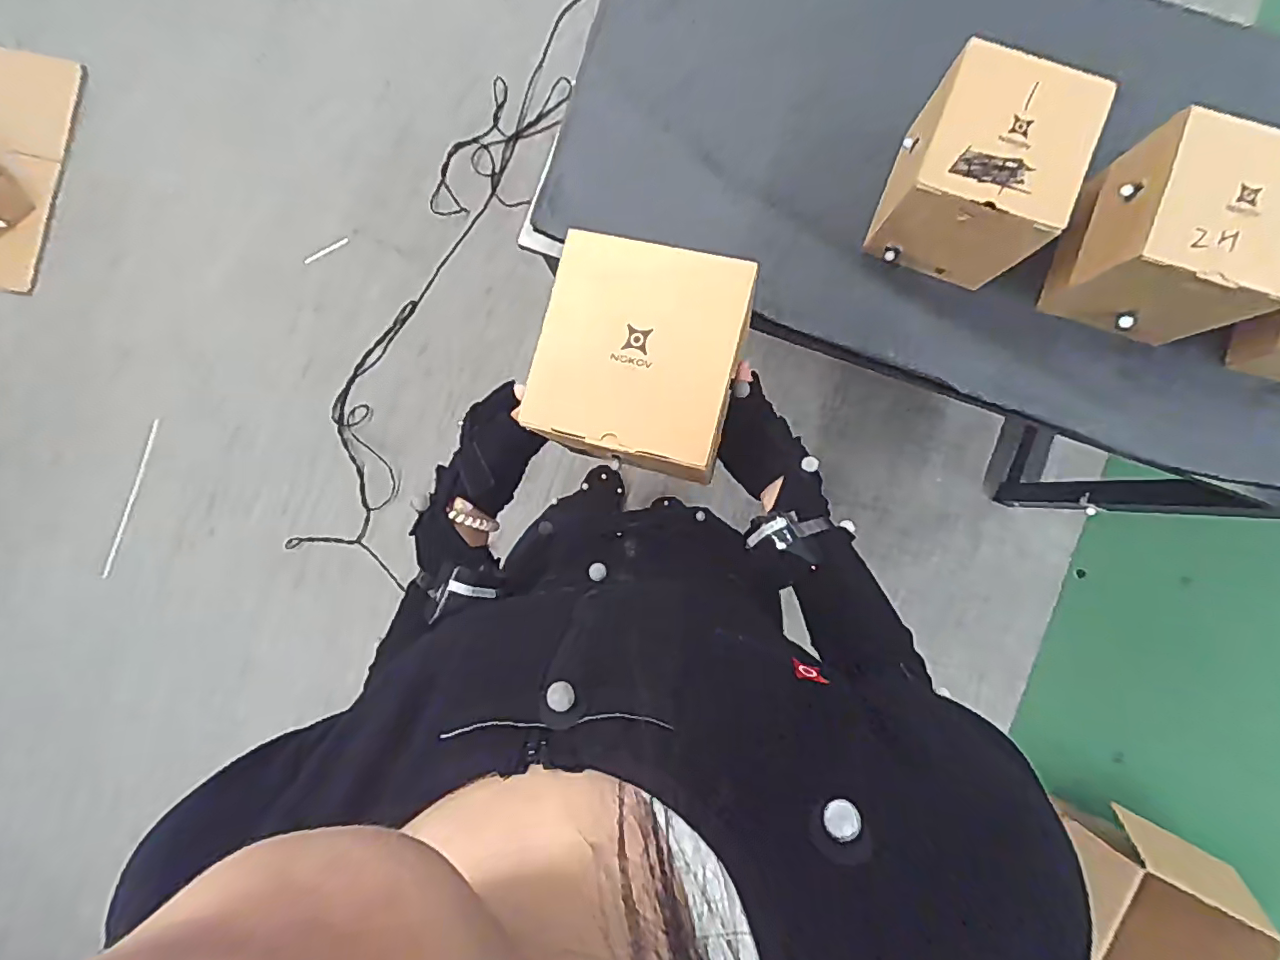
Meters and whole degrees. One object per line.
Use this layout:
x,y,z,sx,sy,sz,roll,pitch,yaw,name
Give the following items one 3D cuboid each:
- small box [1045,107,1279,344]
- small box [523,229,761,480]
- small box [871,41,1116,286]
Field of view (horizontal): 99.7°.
0.638,-0.288,0.650,0.168,0.176,0.179,19,90,4,small box
0.009,-0.106,0.524,0.168,0.176,0.179,14,88,8,small box
0.410,-0.368,0.664,0.168,0.176,0.179,21,89,3,small box
